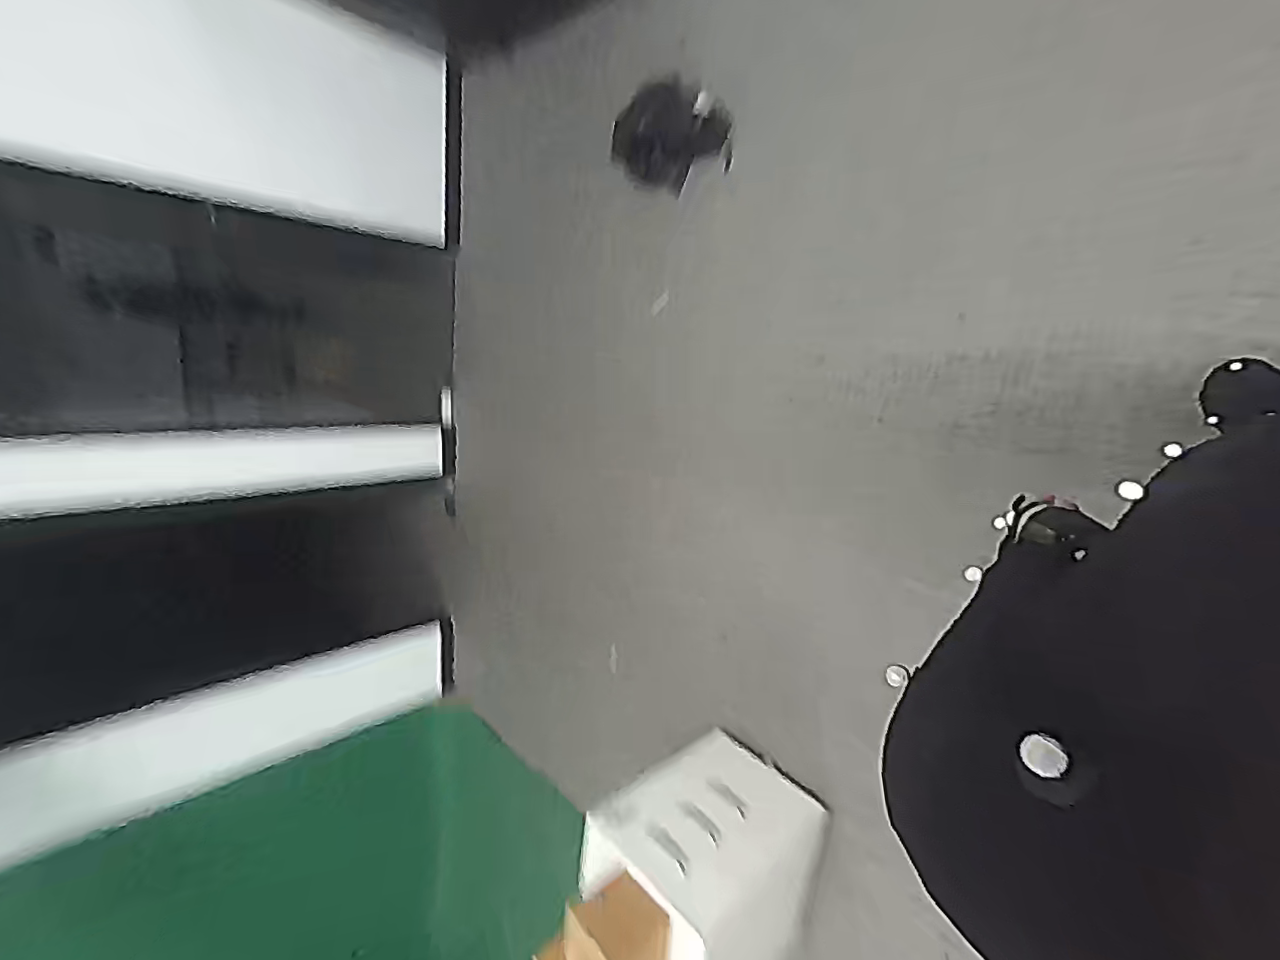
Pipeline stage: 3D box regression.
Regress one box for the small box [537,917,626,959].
[{"bbox_3d":[-0.154,1.281,1.388,0.179,0.176,0.168,25,111,40],"label":"small box"}]
